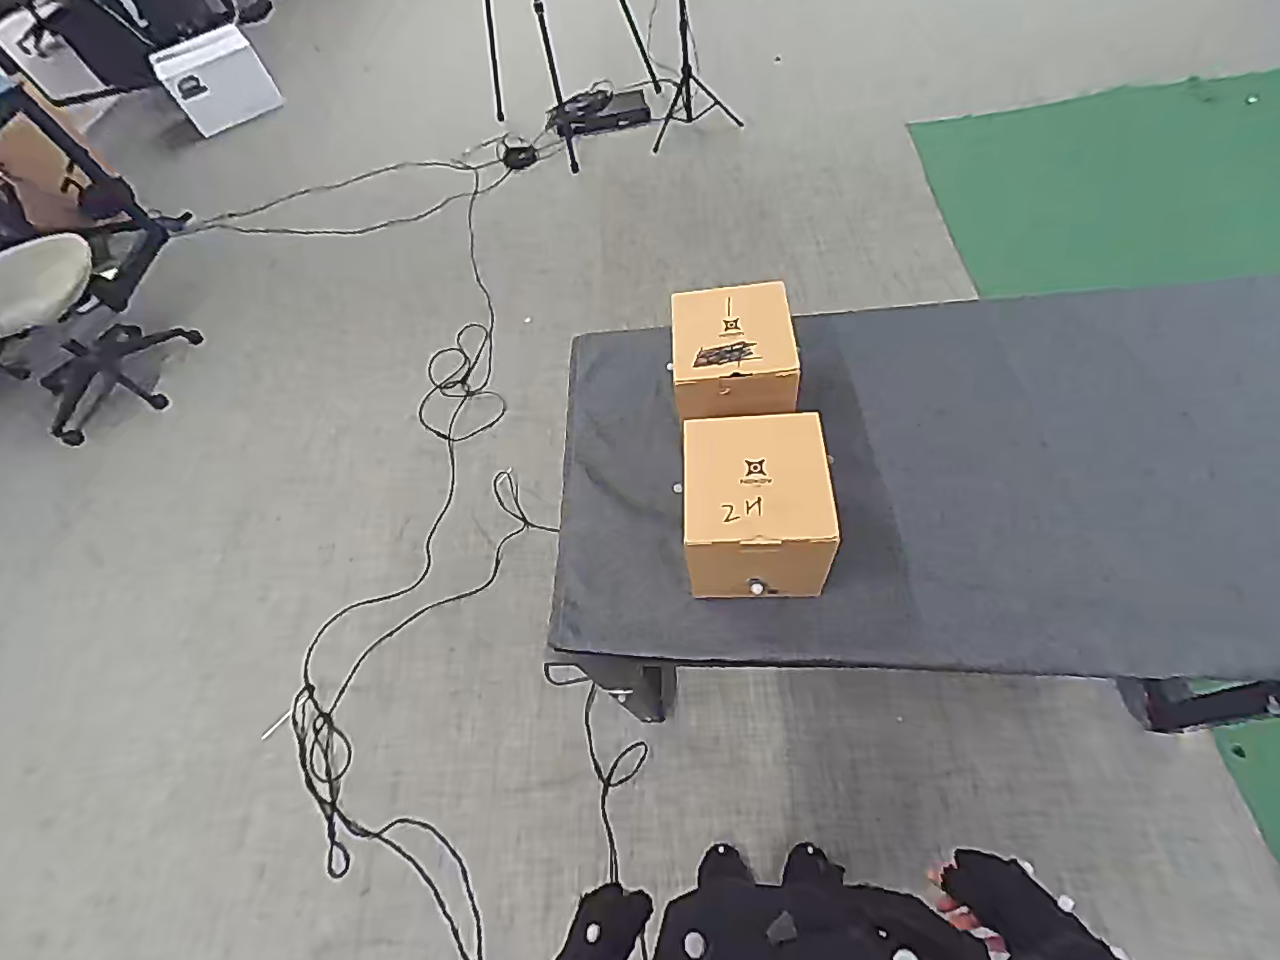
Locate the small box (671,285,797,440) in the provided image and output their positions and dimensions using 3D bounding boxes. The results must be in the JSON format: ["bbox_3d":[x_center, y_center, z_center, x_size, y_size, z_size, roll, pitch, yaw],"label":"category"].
[{"bbox_3d":[0.137,-0.162,0.815,0.168,0.176,0.179,-4,58,7],"label":"small box"}]

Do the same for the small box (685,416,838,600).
[{"bbox_3d":[0.144,0.040,0.691,0.168,0.176,0.179,-3,58,8],"label":"small box"}]
